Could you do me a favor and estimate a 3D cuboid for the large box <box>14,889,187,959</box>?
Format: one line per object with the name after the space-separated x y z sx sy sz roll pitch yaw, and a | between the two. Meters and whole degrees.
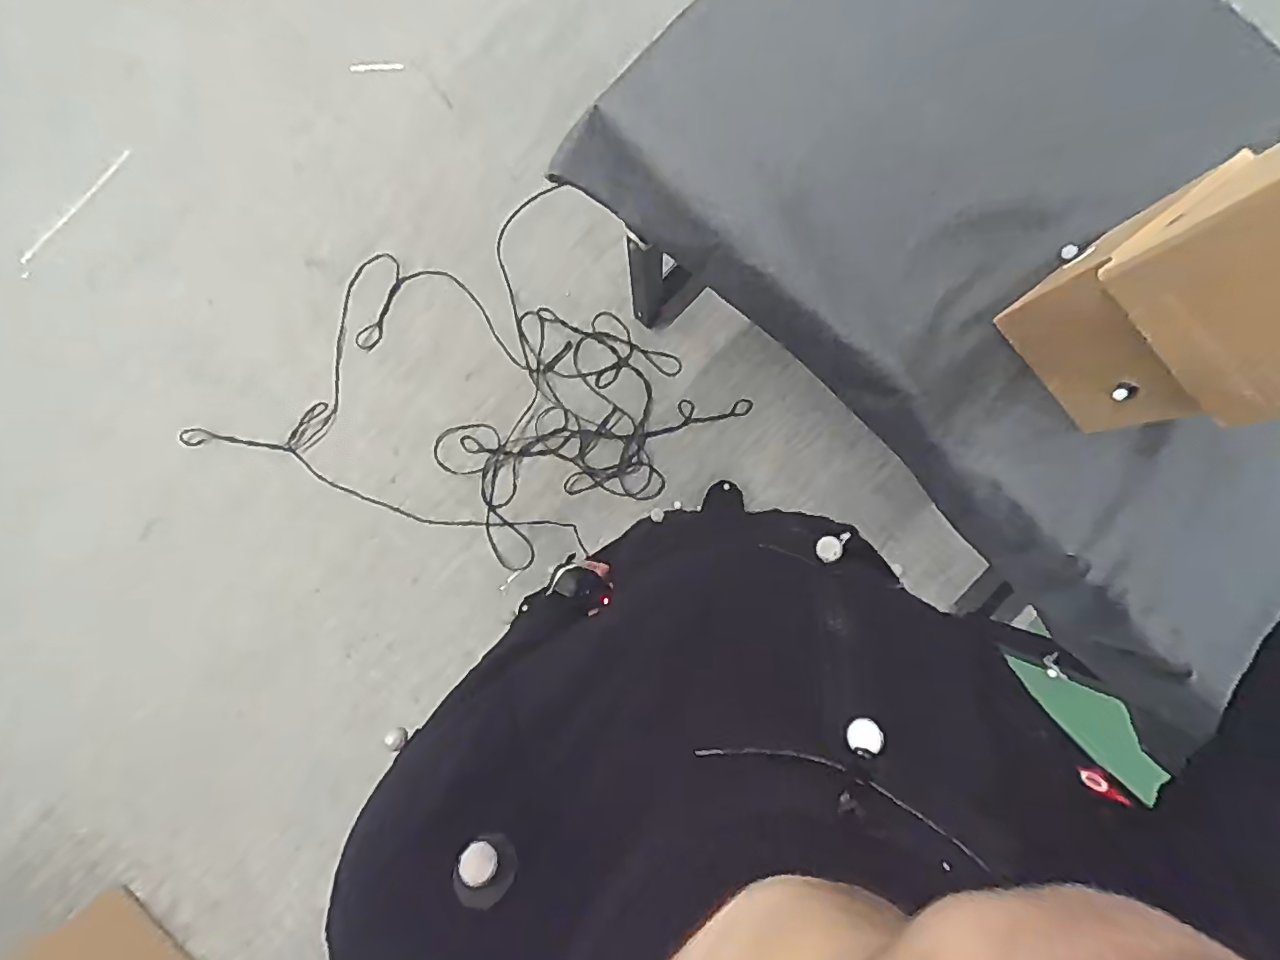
-1.258 1.248 1.184 0.408 0.320 0.320 43 88 4 | large box

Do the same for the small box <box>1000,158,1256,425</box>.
0.537 -0.172 0.562 0.168 0.176 0.179 -38 86 -2 | small box

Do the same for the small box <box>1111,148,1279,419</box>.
0.521 -0.167 0.398 0.168 0.176 0.179 -36 87 -2 | small box
